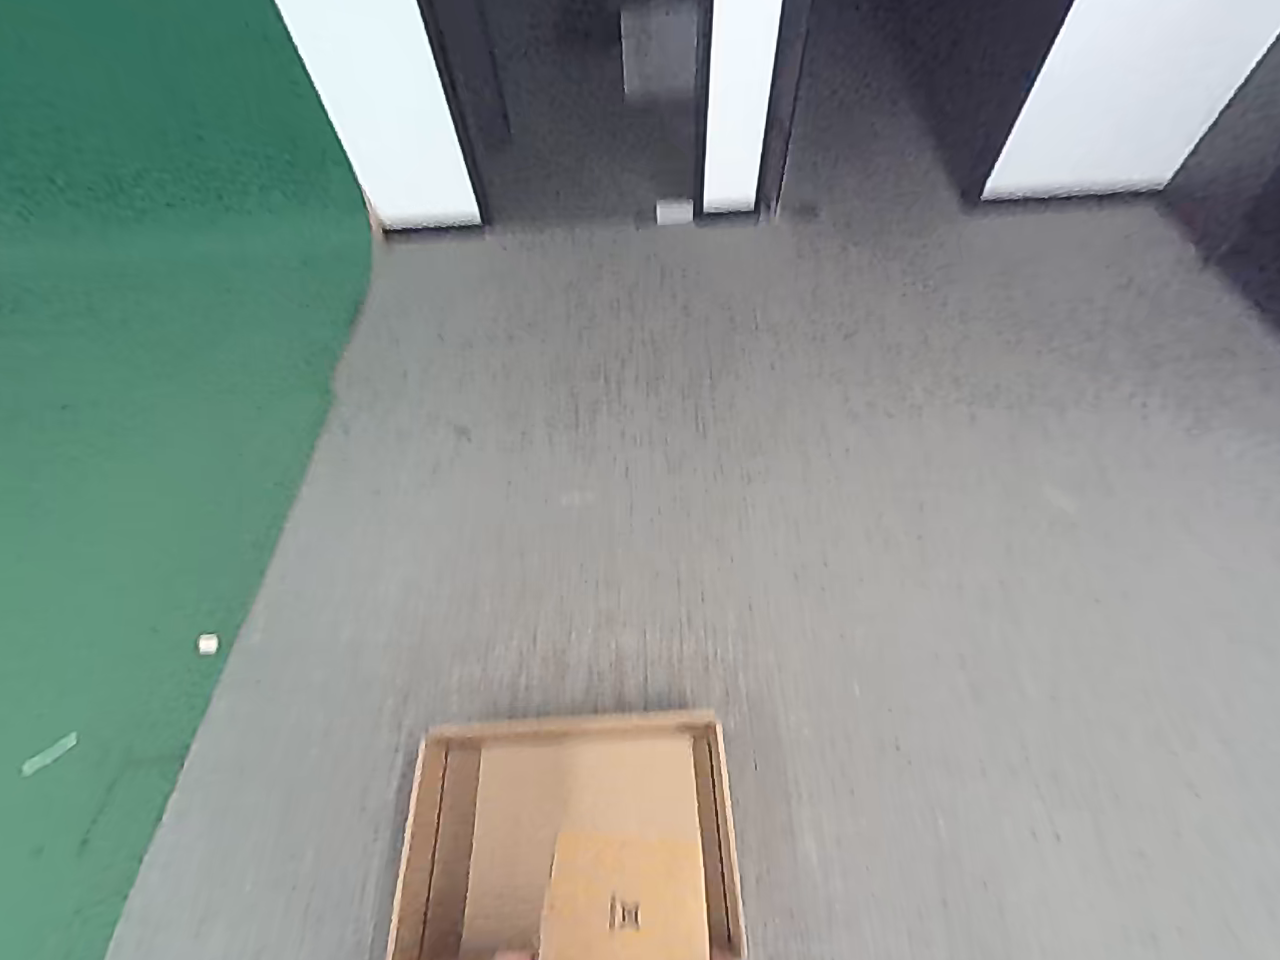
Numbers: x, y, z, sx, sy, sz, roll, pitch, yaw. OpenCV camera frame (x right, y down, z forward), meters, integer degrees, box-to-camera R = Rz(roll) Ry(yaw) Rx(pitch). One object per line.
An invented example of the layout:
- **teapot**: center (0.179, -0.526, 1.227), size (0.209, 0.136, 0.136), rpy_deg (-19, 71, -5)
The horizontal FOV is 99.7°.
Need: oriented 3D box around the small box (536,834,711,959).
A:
- **small box**: center (-0.023, 0.530, 0.596), size (0.179, 0.176, 0.168), rpy_deg (6, 26, -1)
